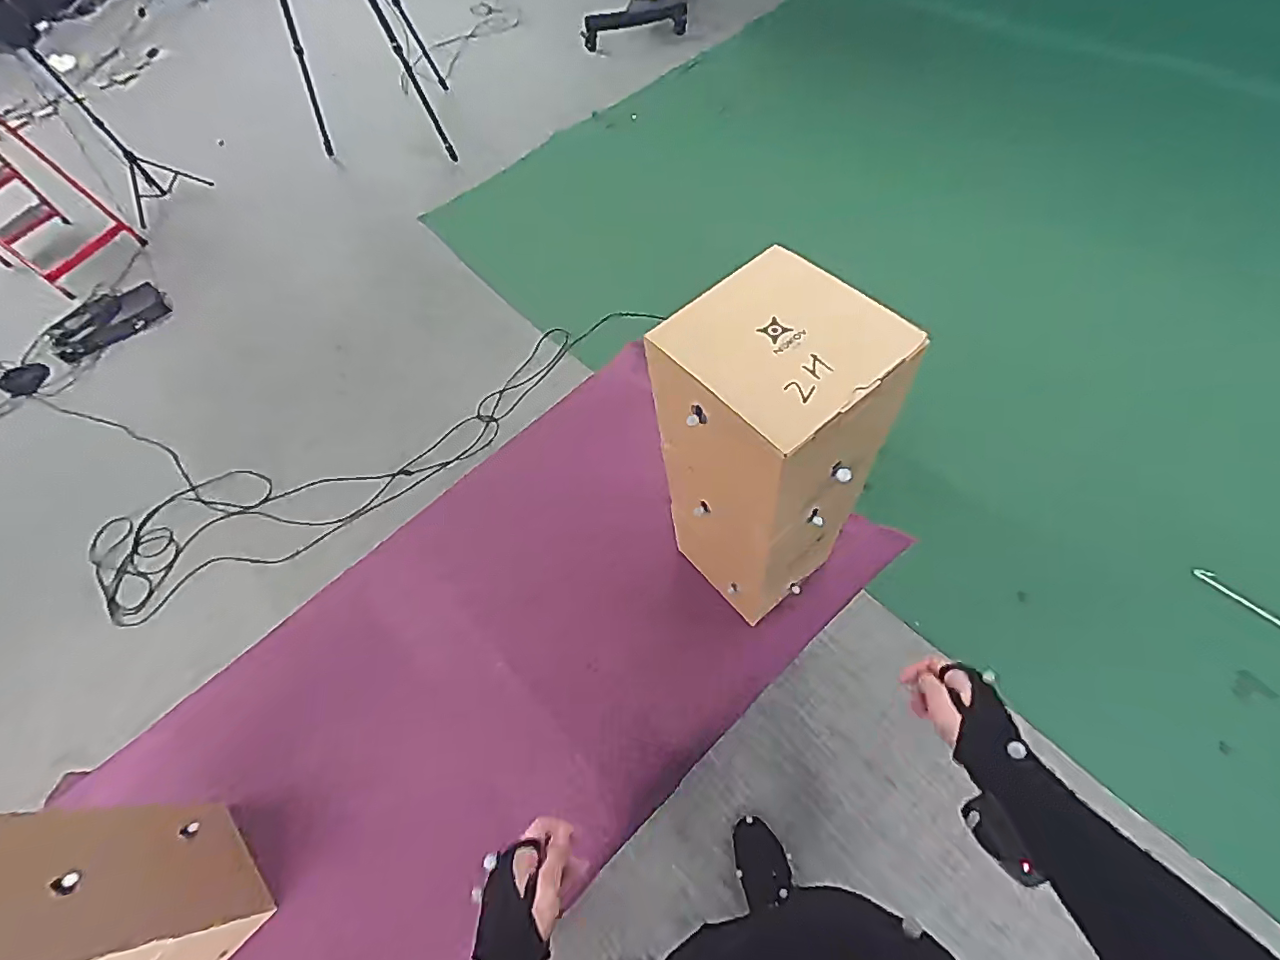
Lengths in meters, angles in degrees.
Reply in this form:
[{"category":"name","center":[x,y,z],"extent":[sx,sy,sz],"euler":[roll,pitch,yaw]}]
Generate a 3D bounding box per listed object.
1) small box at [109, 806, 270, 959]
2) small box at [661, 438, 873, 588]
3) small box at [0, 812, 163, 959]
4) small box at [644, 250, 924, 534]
[{"category":"small box","center":[-0.612,0.537,0.664],"extent":[0.179,0.176,0.168],"euler":[39,72,24]},{"category":"small box","center":[0.147,0.004,0.668],"extent":[0.168,0.176,0.179],"euler":[-38,61,-12]},{"category":"small box","center":[-0.631,0.456,0.523],"extent":[0.179,0.176,0.168],"euler":[38,73,24]},{"category":"small box","center":[0.126,-0.079,0.527],"extent":[0.168,0.176,0.179],"euler":[-37,62,-12]}]
